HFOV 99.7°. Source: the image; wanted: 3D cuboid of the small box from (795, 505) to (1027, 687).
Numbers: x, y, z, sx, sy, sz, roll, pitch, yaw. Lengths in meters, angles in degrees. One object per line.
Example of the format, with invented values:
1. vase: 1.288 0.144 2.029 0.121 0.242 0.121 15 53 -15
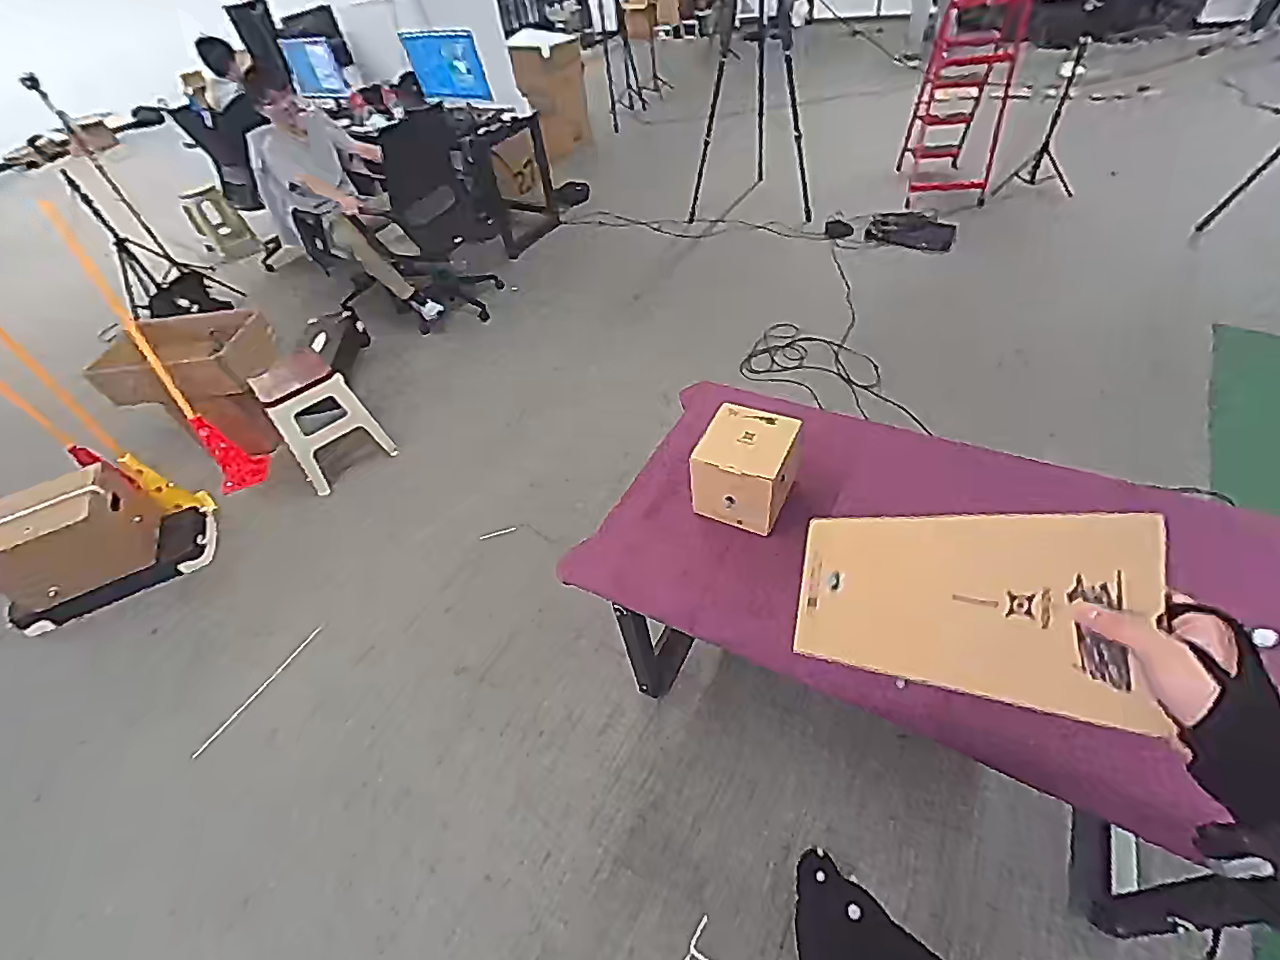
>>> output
1. small box: 0.317 0.131 0.641 0.176 0.179 0.168 -8 65 60

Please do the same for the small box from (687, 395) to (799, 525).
1. small box: 0.209 -0.038 1.090 0.168 0.176 0.179 18 55 23
